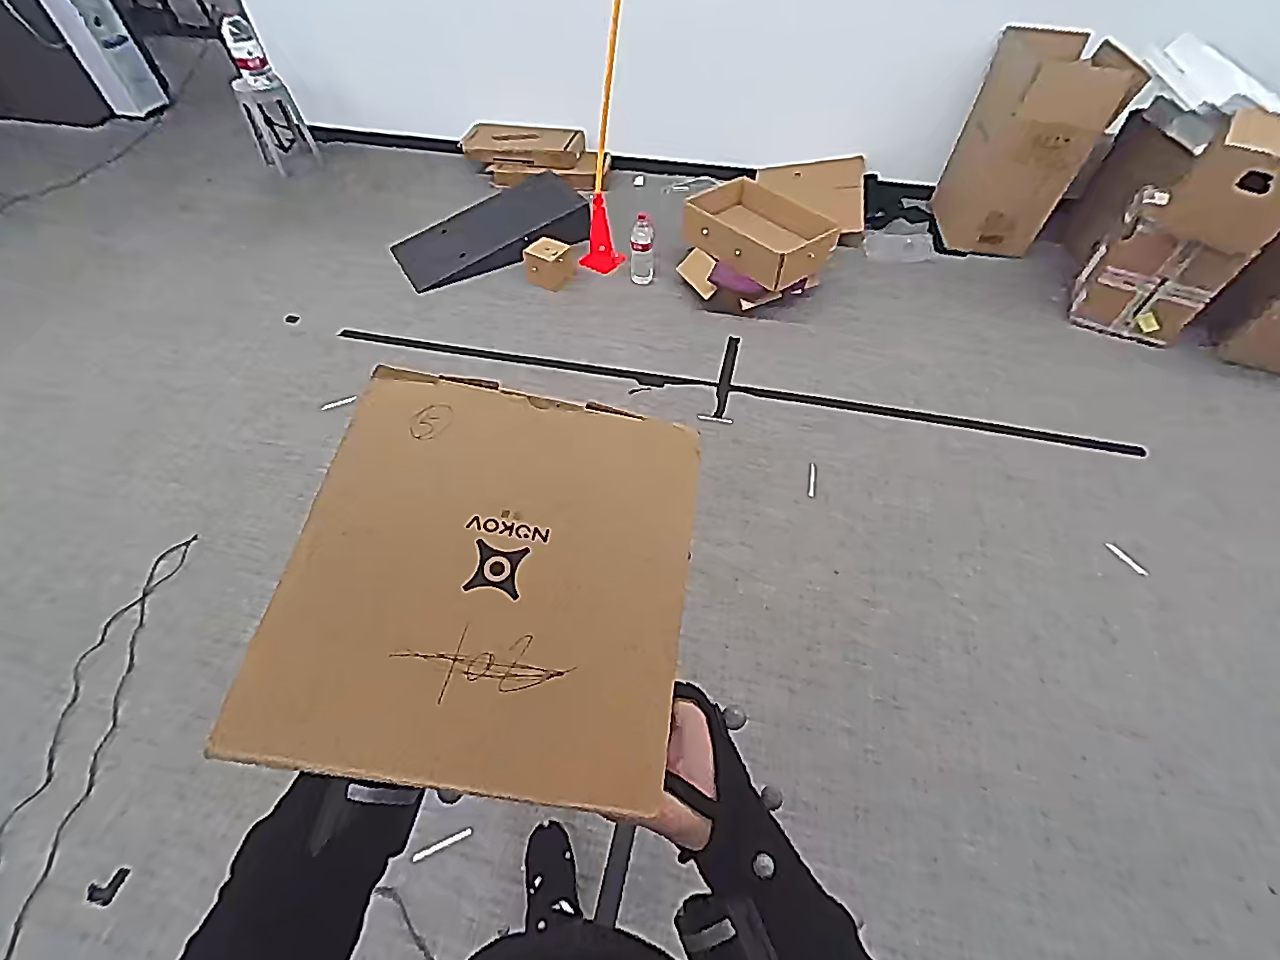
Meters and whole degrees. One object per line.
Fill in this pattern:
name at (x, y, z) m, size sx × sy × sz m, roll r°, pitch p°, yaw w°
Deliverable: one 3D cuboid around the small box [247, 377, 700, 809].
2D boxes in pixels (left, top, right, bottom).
small box at (-0.071, 0.072, 0.316) m, size 0.168 × 0.176 × 0.179 m, roll 10°, pitch 65°, yaw -4°
